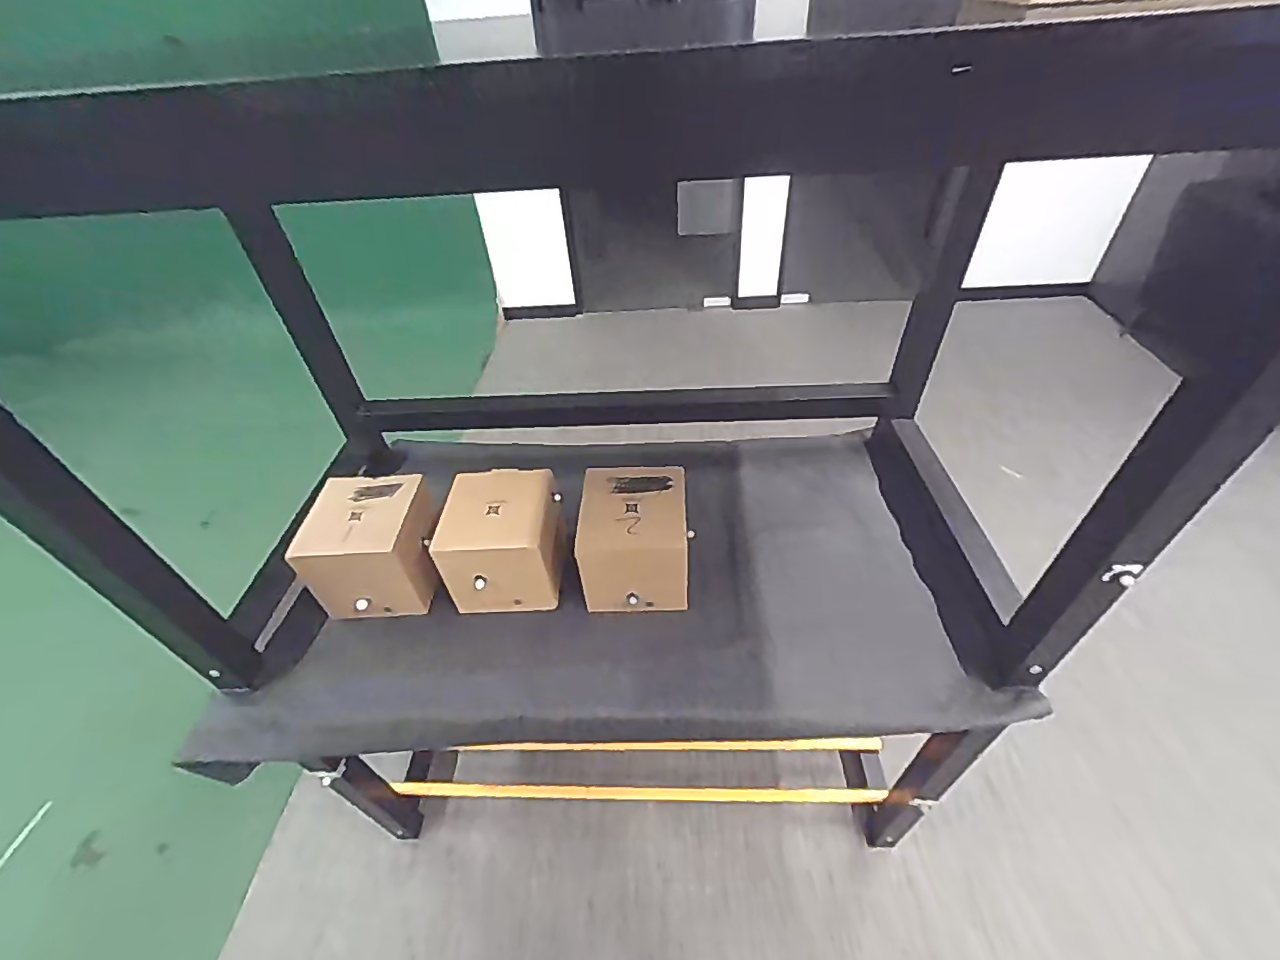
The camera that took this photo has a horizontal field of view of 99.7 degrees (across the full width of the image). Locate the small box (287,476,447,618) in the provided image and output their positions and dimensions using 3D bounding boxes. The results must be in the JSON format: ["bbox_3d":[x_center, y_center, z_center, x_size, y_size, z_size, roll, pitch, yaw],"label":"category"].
[{"bbox_3d":[-0.444,0.113,0.919,0.168,0.176,0.179,-3,43,2],"label":"small box"}]

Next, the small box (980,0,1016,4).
[{"bbox_3d":[0.308,-0.392,0.309,0.168,0.176,0.179,5,43,11],"label":"small box"}]
